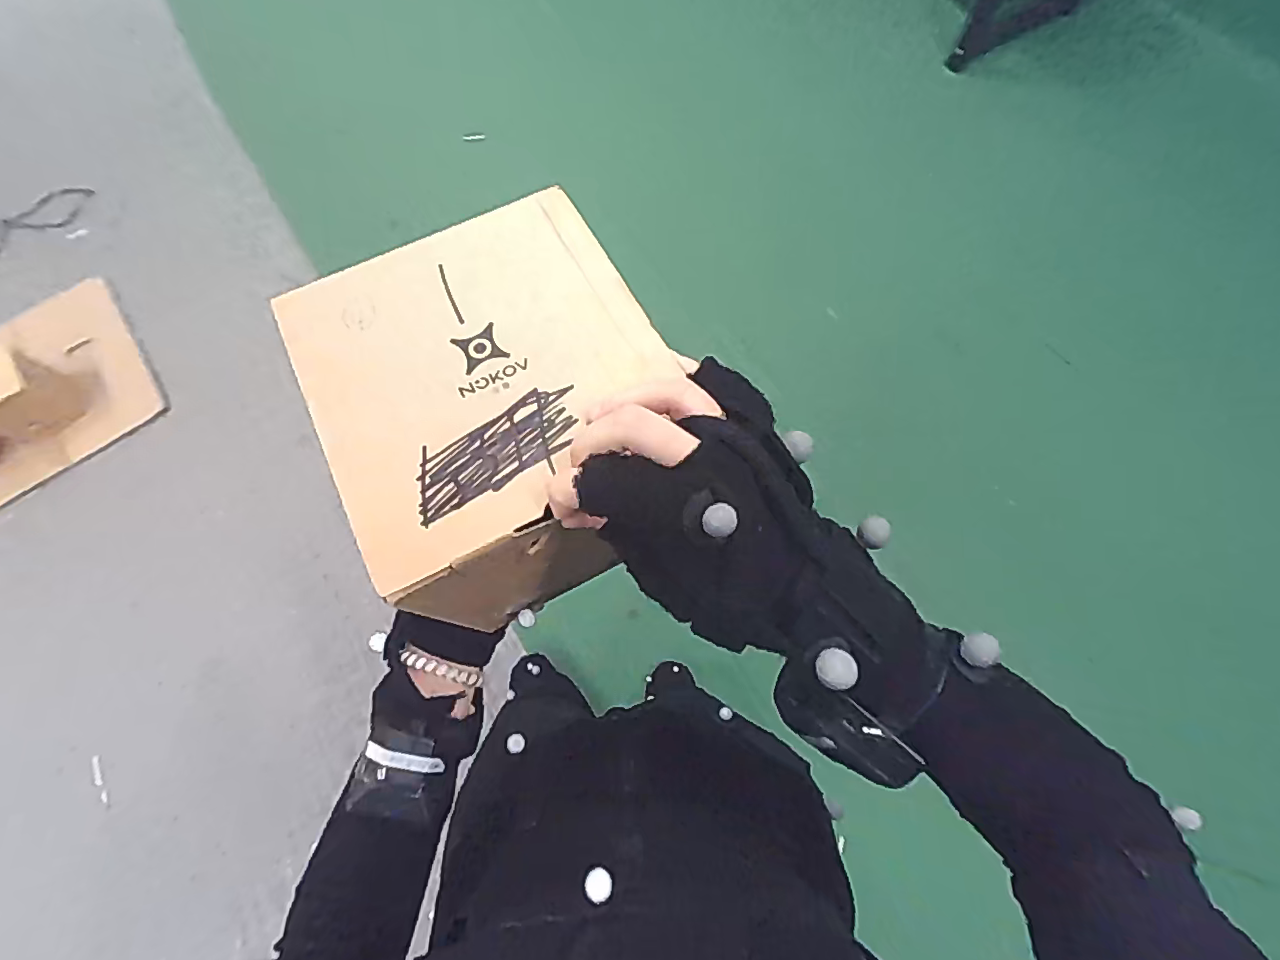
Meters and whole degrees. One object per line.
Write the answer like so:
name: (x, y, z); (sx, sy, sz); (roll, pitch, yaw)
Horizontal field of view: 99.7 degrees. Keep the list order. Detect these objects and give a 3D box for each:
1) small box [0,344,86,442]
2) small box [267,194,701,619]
small box: (-1.733, -0.238, 1.514); (0.168, 0.176, 0.179); (-36, 75, -10)
small box: (-0.079, -0.026, 0.339); (0.168, 0.176, 0.179); (-28, 72, -9)
